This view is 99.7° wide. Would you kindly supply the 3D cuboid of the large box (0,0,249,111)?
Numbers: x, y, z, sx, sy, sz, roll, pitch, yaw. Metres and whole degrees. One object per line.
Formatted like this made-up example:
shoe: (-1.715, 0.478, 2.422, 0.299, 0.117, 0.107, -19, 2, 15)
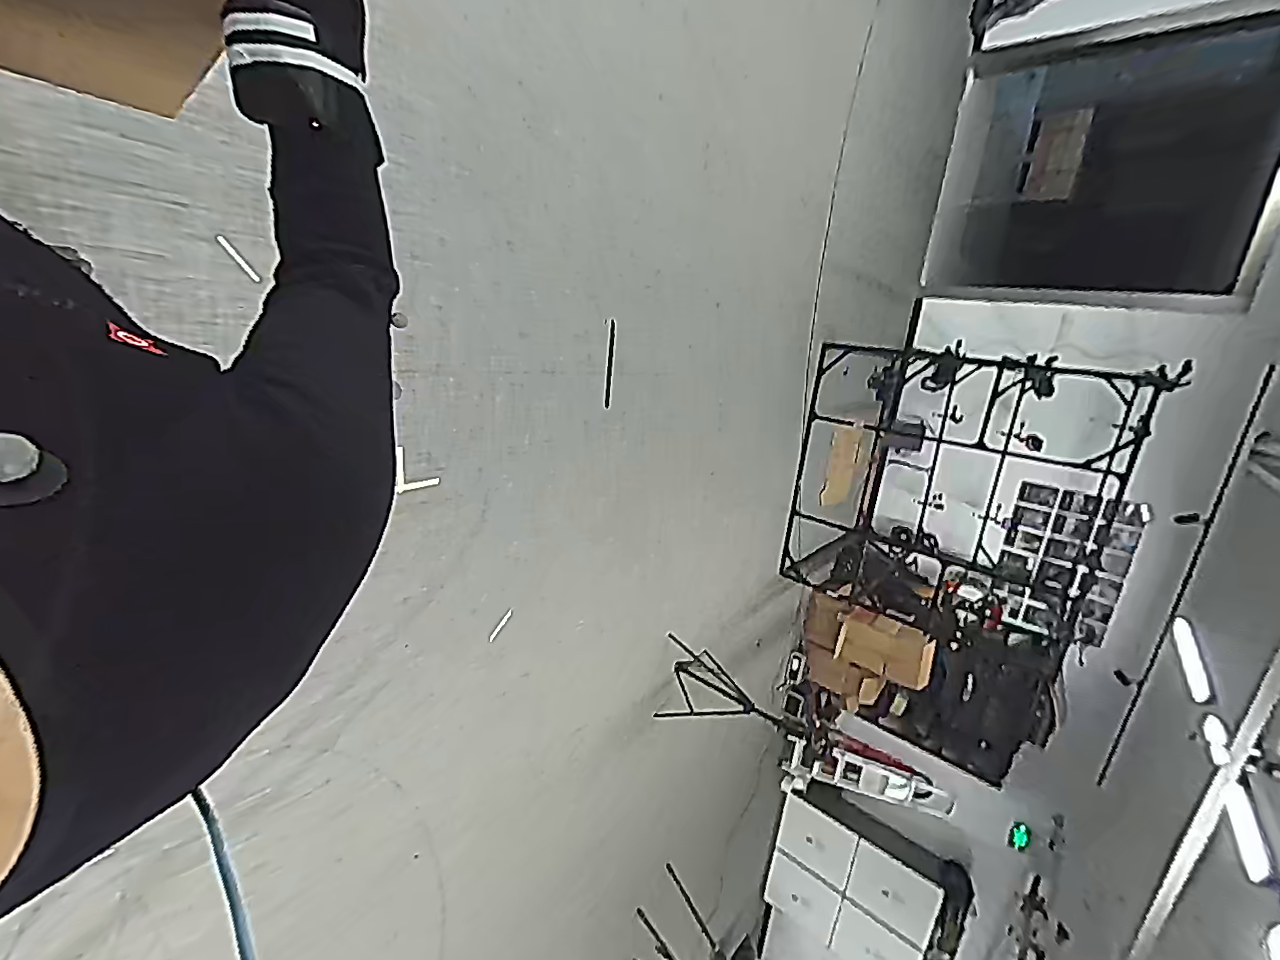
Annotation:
large box: (-0.475, -0.459, 0.262, 0.408, 0.320, 0.320, -11, 107, -49)
